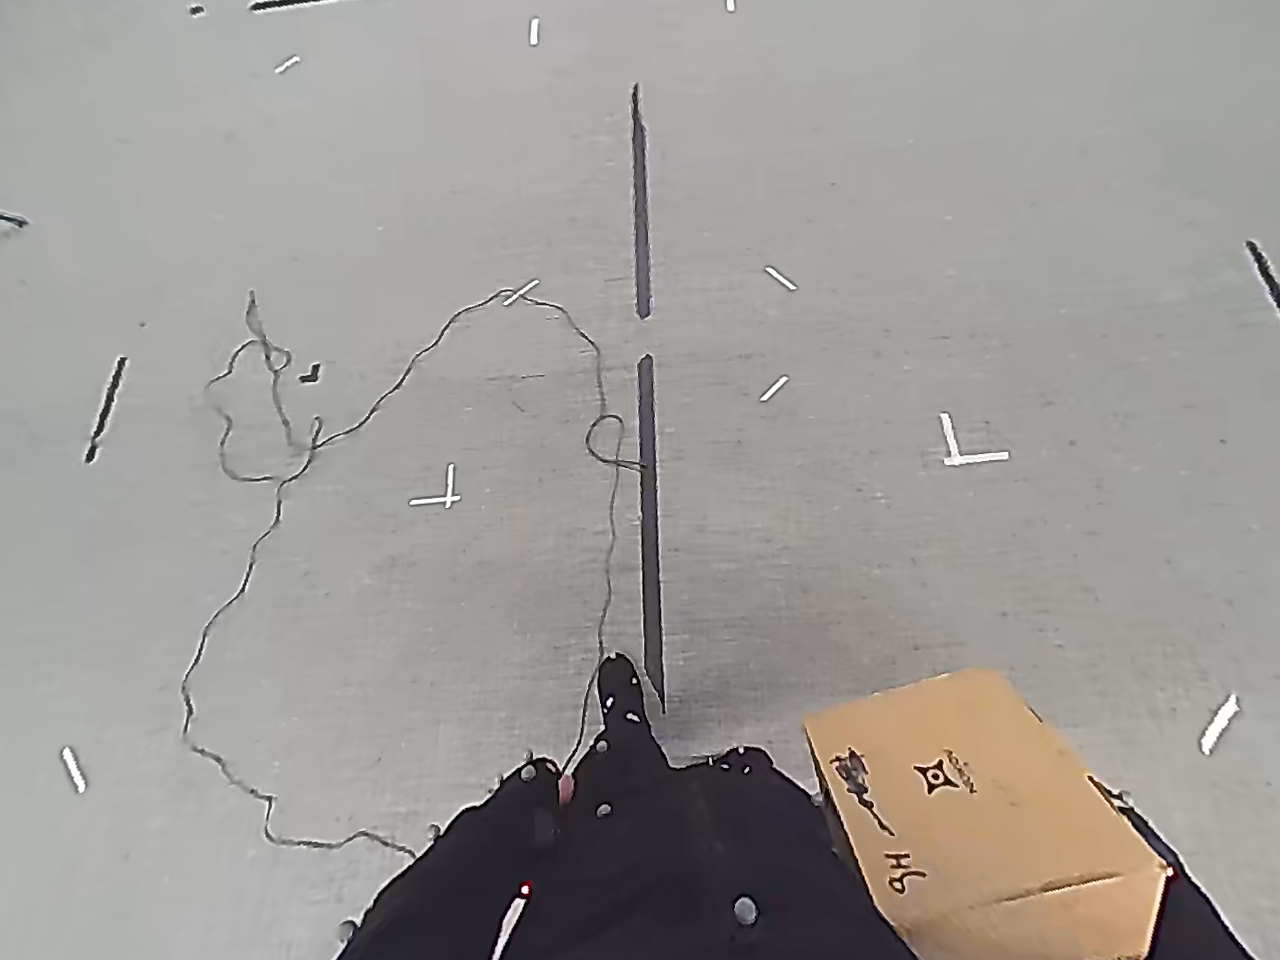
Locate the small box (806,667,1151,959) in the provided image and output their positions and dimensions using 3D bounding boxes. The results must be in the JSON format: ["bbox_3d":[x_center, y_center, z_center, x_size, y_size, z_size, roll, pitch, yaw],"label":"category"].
[{"bbox_3d":[0.261,0.296,0.454,0.179,0.168,0.176,-18,116,5],"label":"small box"}]
